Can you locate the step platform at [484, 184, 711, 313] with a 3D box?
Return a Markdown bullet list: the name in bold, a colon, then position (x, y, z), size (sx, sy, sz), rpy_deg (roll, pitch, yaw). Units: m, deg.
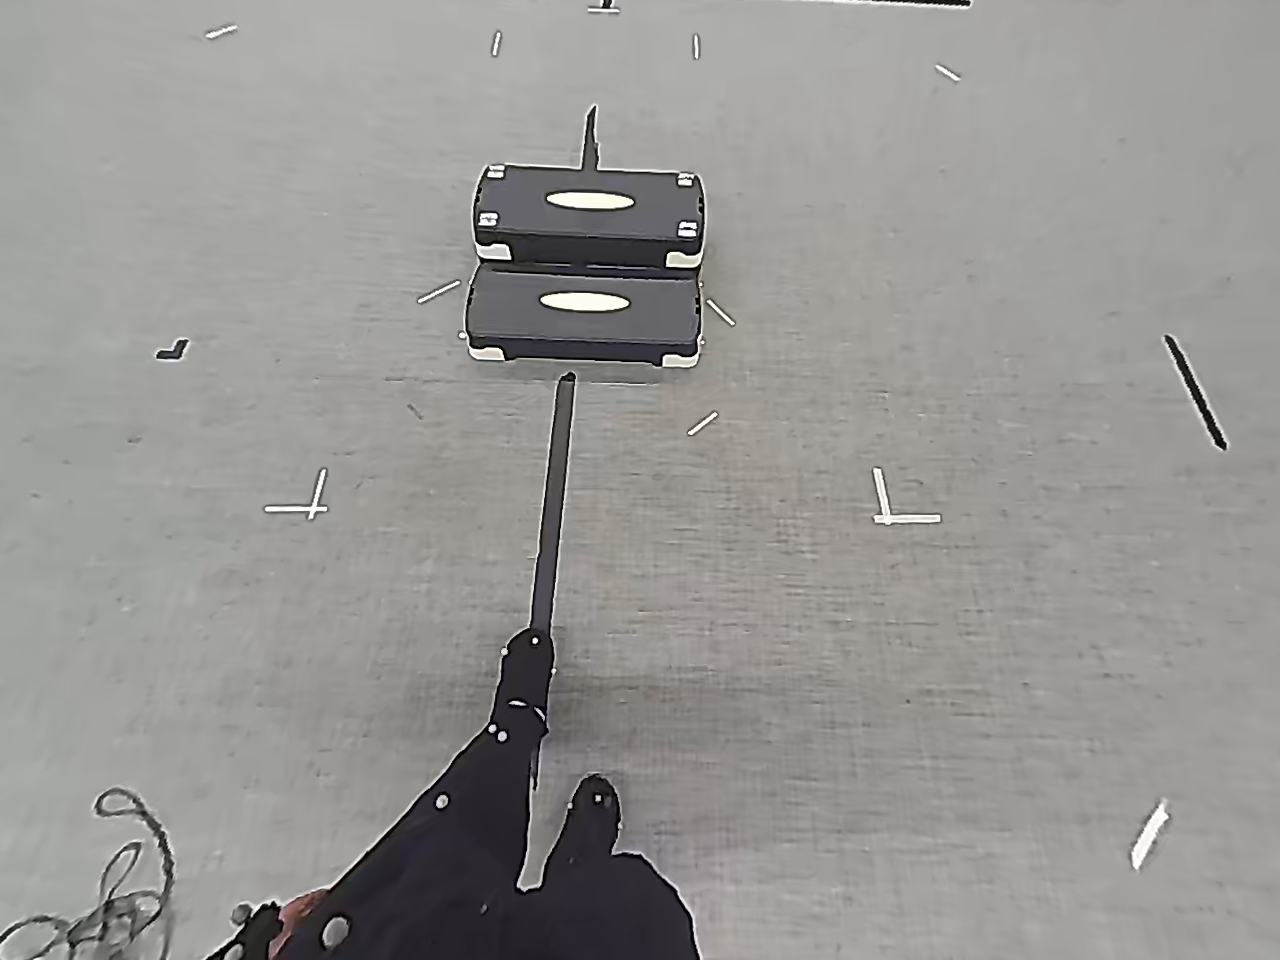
- **step platform**: position (-0.124, -0.717, 1.672), size (0.684, 0.204, 0.286), rpy_deg (6, 65, 0)
